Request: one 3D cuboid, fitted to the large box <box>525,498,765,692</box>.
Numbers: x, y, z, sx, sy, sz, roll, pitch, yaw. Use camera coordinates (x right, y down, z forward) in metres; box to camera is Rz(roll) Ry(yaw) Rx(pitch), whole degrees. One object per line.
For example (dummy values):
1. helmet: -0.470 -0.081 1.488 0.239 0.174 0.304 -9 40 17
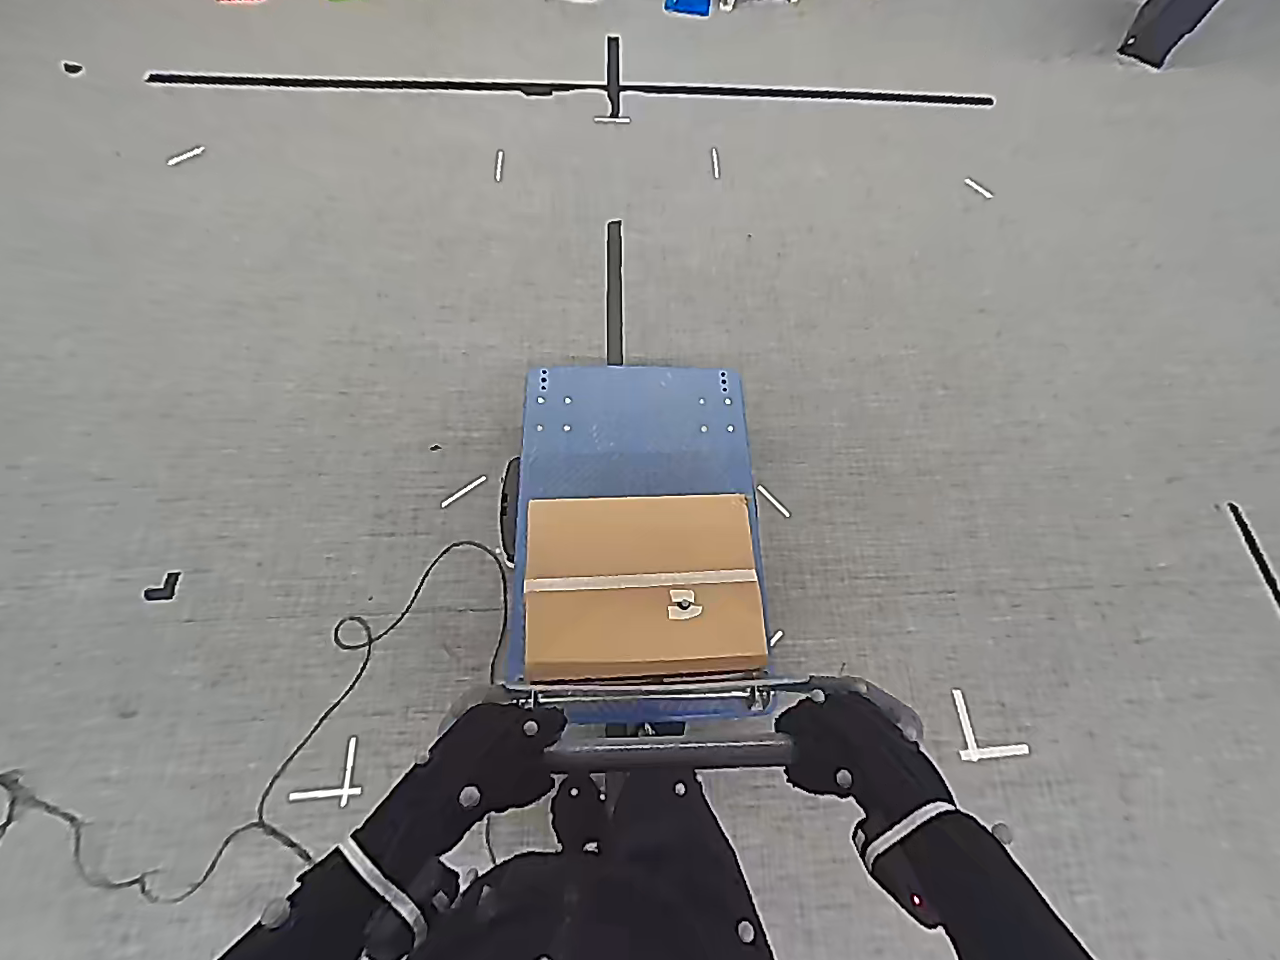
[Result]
1. large box: -0.009 0.239 1.072 0.408 0.320 0.320 -1 68 -5
